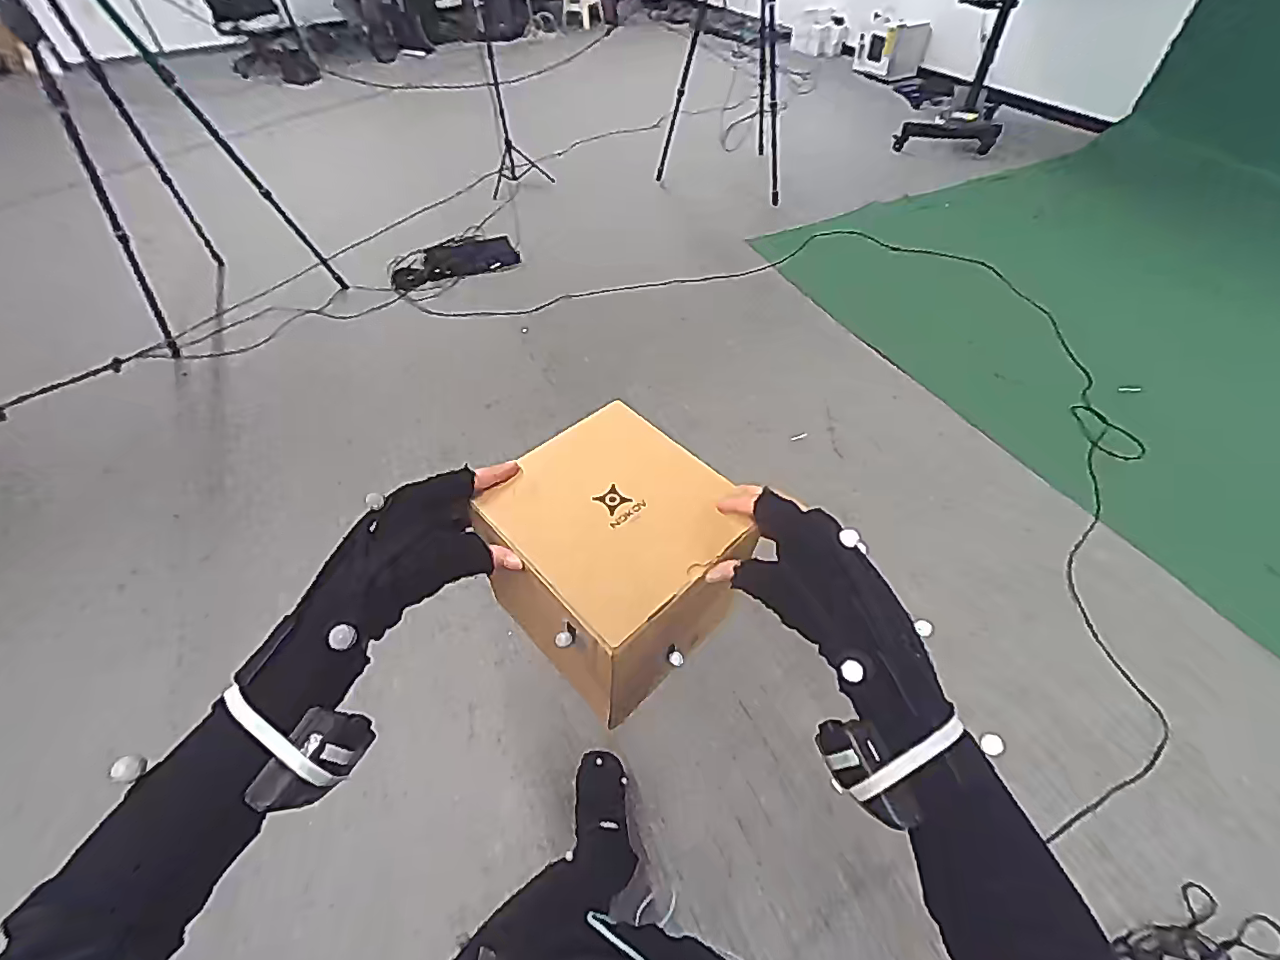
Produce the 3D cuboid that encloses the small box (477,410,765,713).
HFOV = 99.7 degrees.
[{"bbox_3d":[-0.021,0.074,0.492,0.168,0.176,0.179,-35,61,-29],"label":"small box"}]
